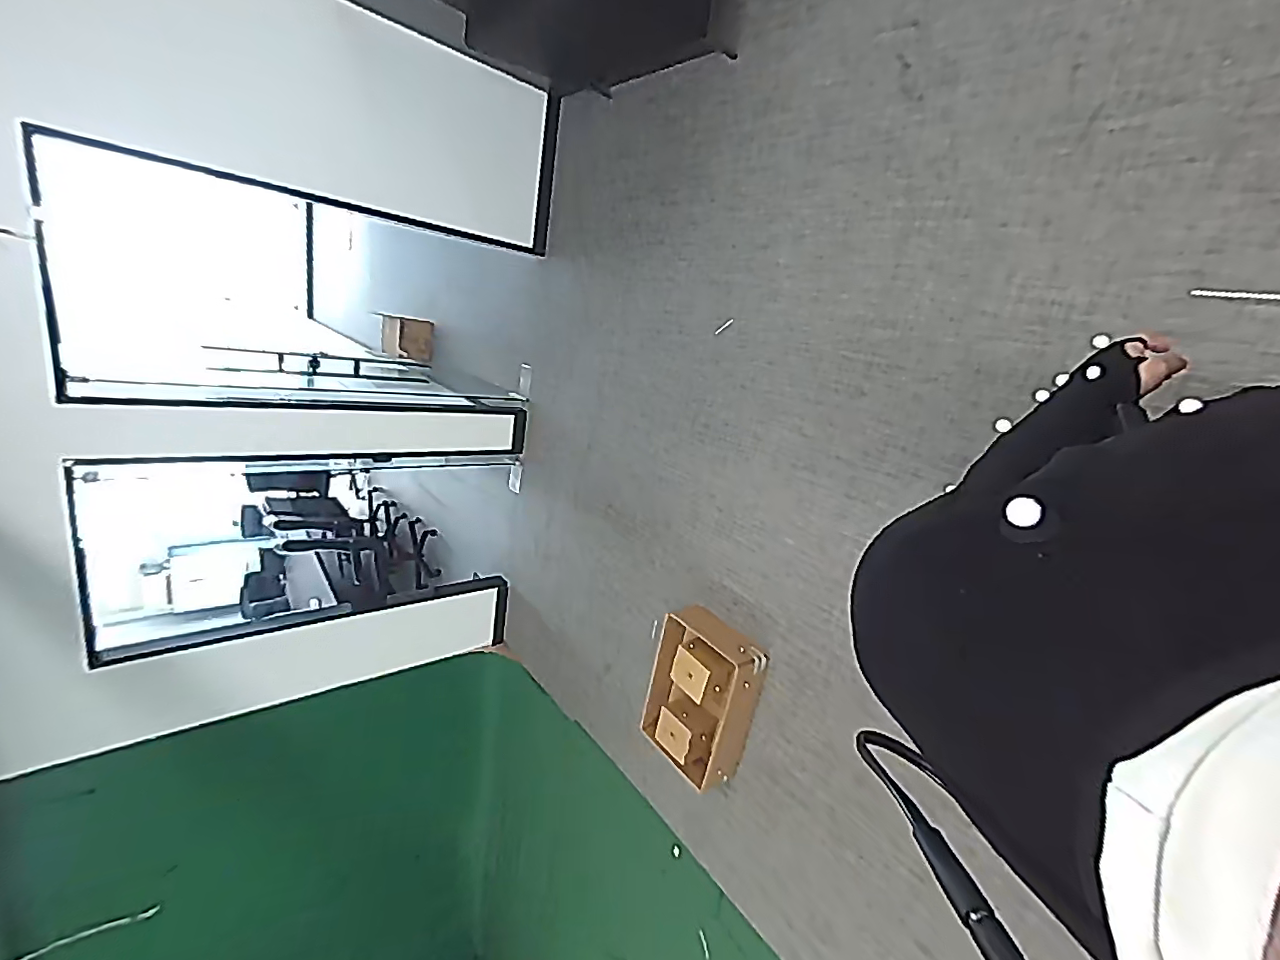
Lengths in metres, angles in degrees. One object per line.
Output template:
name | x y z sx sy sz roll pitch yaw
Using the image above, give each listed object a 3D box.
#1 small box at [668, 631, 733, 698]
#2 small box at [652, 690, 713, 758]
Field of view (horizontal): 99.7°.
small box | 0.243 0.728 2.160 0.179 0.176 0.168 33 118 43
small box | 0.180 1.007 2.252 0.179 0.176 0.168 29 113 45
